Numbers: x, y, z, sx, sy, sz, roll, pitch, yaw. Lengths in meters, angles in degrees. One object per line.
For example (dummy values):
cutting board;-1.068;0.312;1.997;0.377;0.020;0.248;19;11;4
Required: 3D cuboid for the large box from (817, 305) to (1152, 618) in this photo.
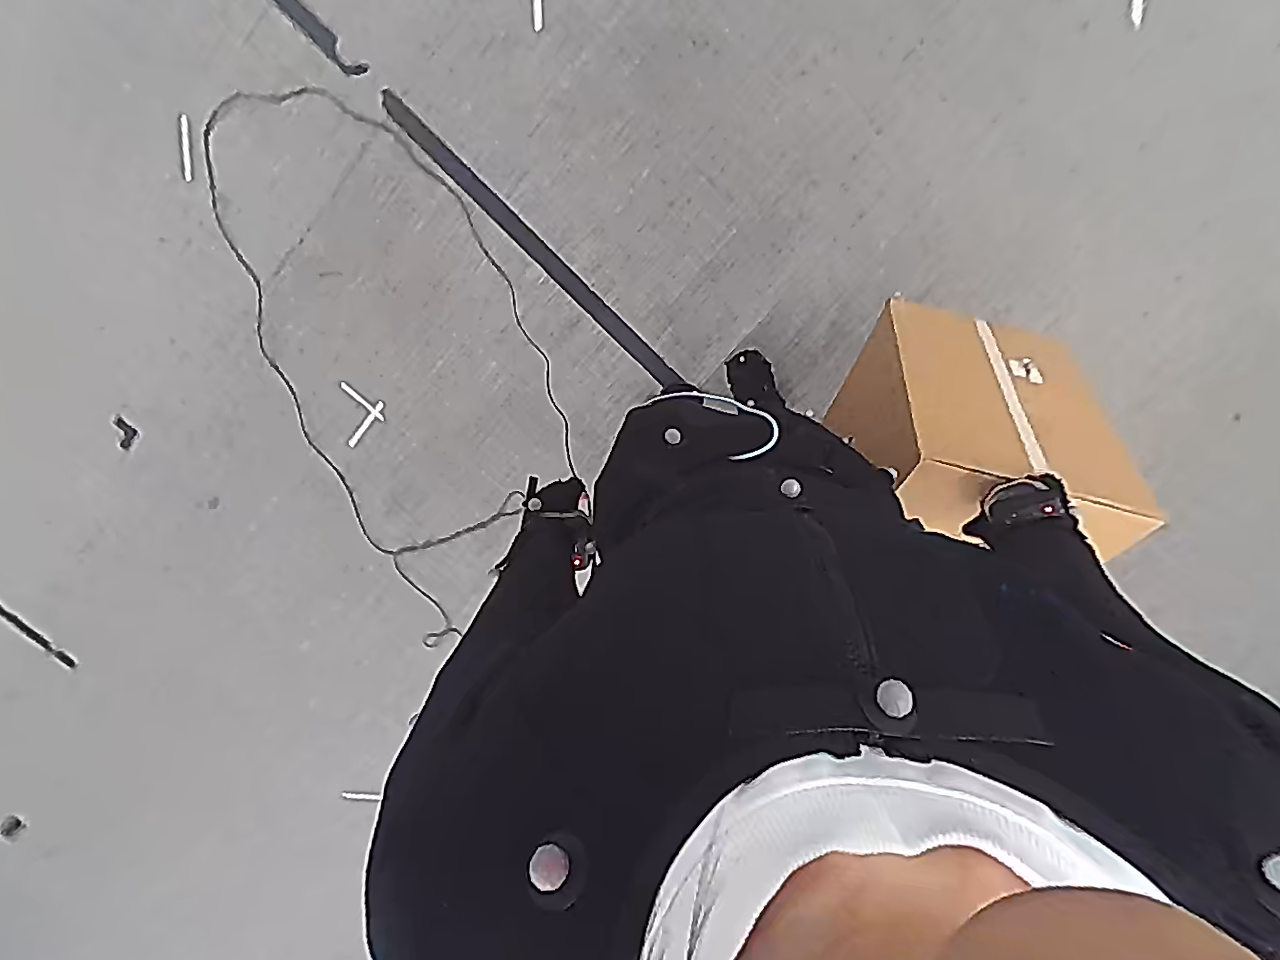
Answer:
large box;0.516;-0.035;0.928;0.320;0.408;0.320;14;137;0
